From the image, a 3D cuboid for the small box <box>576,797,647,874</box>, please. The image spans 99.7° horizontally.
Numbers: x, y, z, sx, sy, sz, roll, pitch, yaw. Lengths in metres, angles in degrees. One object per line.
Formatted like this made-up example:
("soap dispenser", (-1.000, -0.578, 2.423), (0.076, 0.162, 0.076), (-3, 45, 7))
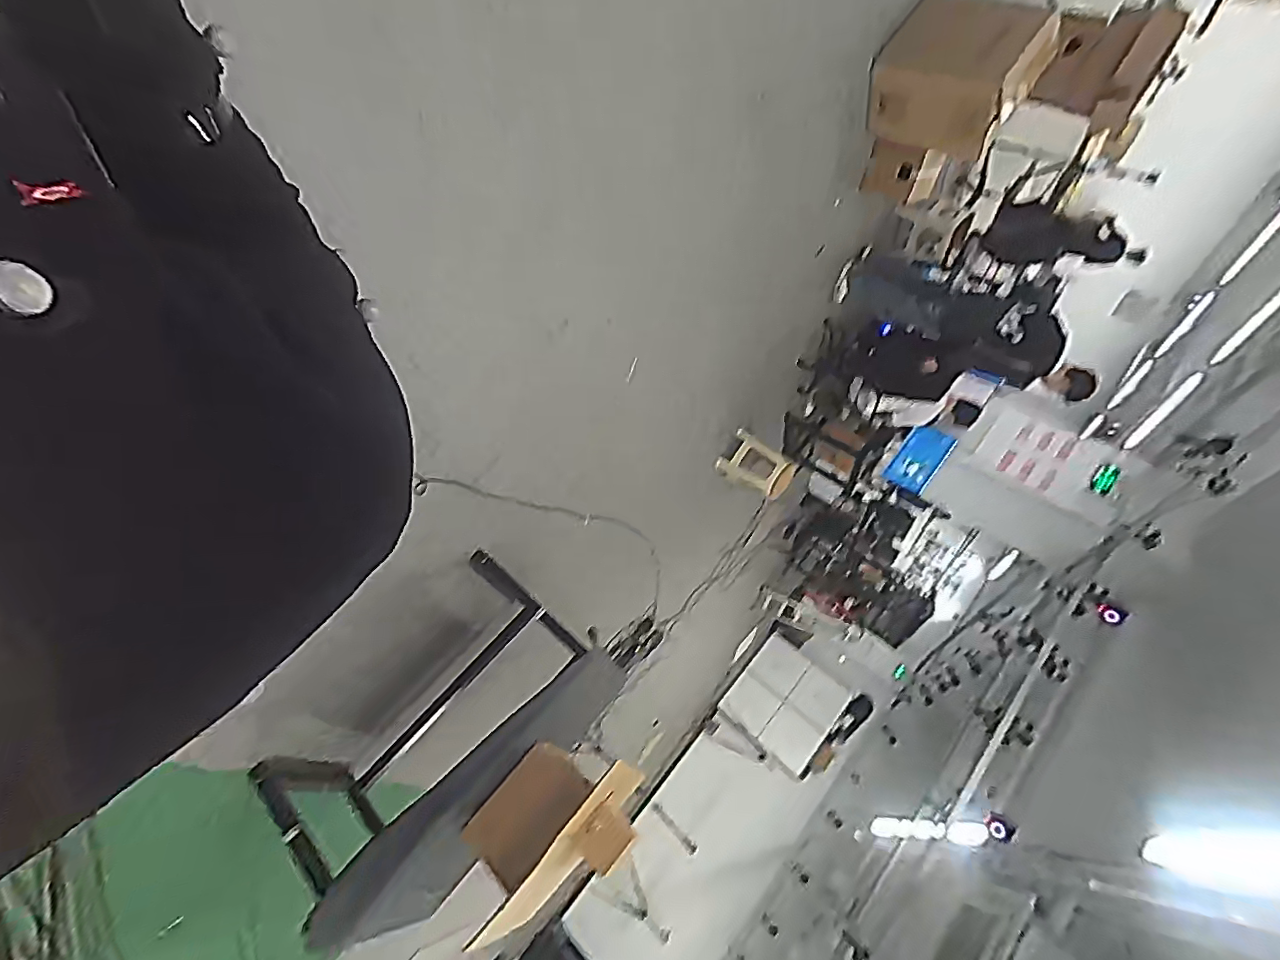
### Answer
("small box", (-0.102, 1.283, 1.960), (0.168, 0.176, 0.179), (-47, 150, -18))
